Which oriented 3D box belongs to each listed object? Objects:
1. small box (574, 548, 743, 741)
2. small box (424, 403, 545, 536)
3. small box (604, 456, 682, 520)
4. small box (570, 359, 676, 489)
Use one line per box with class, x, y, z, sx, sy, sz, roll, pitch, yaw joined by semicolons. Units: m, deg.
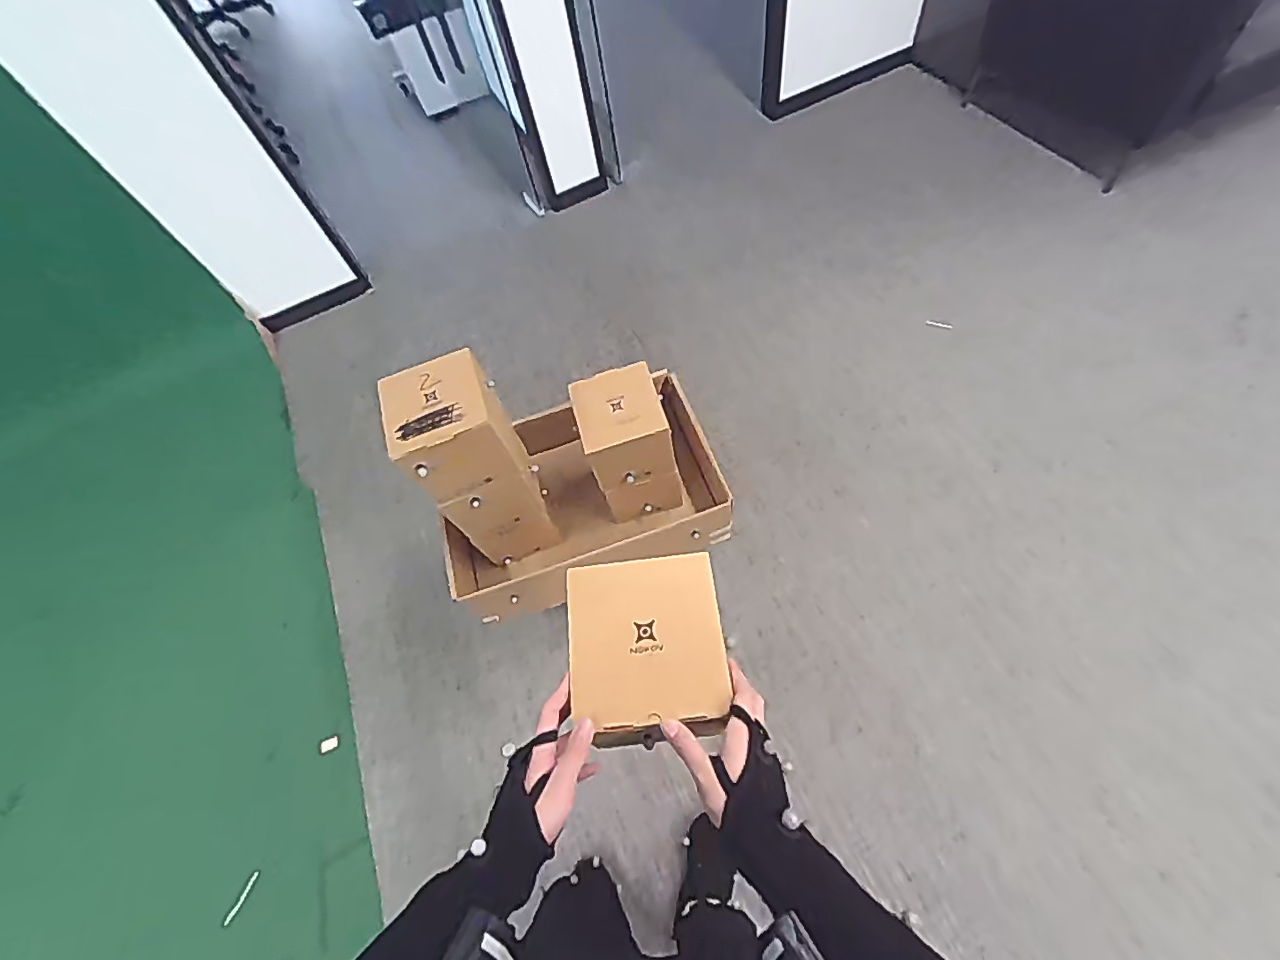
small box;0.016;0.198;0.636;0.168;0.176;0.179;-6;61;0
small box;-0.307;-0.017;1.083;0.168;0.176;0.179;-22;60;-3
small box;-0.006;-0.034;1.238;0.168;0.176;0.179;-16;61;0
small box;-0.031;-0.109;1.095;0.168;0.176;0.179;-17;61;-1
